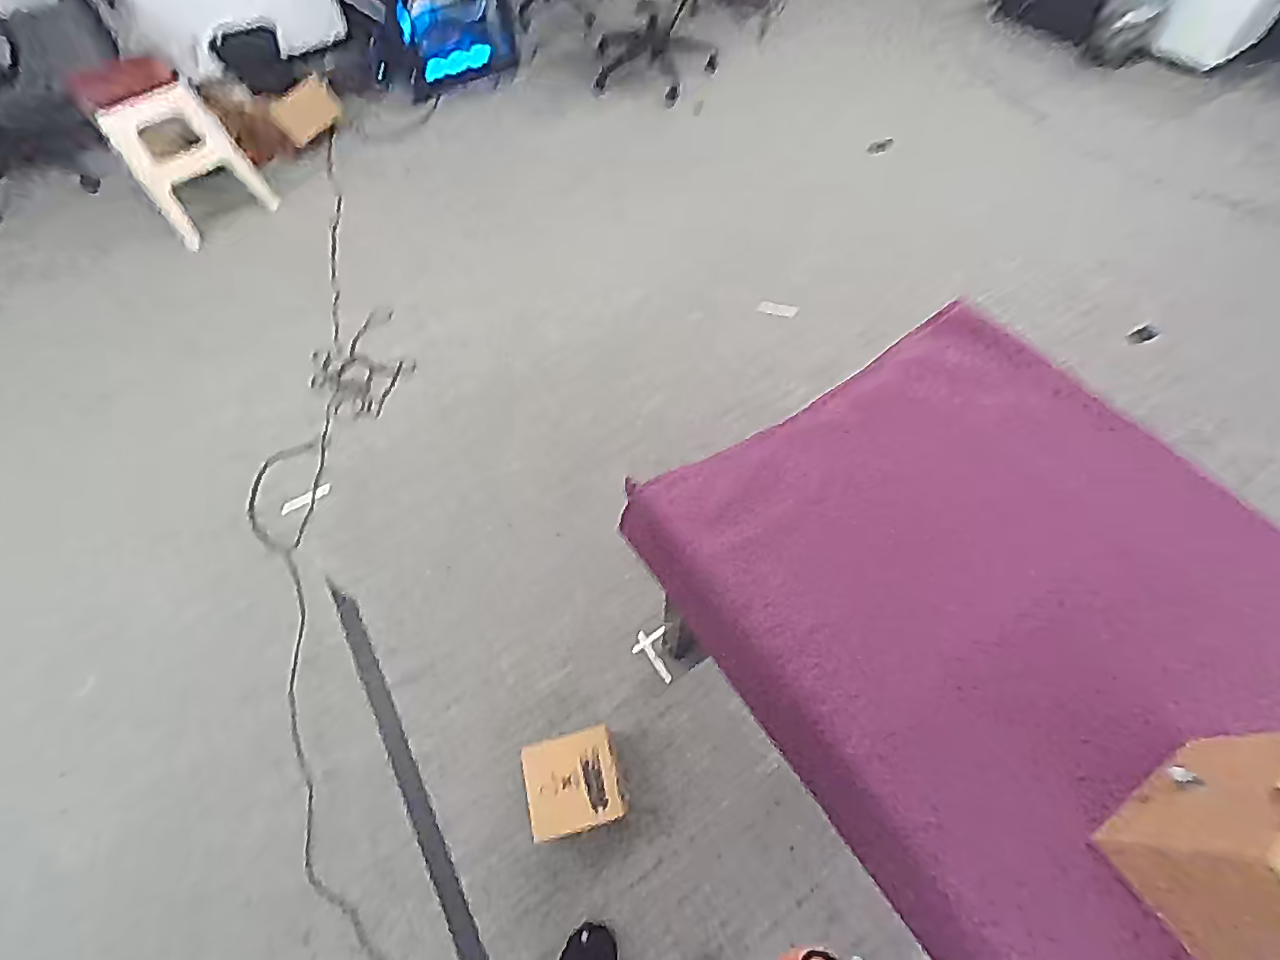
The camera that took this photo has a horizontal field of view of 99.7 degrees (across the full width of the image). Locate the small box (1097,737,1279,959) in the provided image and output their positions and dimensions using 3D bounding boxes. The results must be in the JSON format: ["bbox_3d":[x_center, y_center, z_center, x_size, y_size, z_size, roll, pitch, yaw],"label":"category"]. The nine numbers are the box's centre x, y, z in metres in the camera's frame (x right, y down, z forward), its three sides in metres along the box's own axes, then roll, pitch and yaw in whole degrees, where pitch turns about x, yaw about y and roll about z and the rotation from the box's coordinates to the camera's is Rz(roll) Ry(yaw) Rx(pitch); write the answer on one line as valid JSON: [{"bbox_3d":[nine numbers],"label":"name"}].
[{"bbox_3d":[0.543,0.324,0.432,0.168,0.176,0.179,-28,62,-15],"label":"small box"}]
